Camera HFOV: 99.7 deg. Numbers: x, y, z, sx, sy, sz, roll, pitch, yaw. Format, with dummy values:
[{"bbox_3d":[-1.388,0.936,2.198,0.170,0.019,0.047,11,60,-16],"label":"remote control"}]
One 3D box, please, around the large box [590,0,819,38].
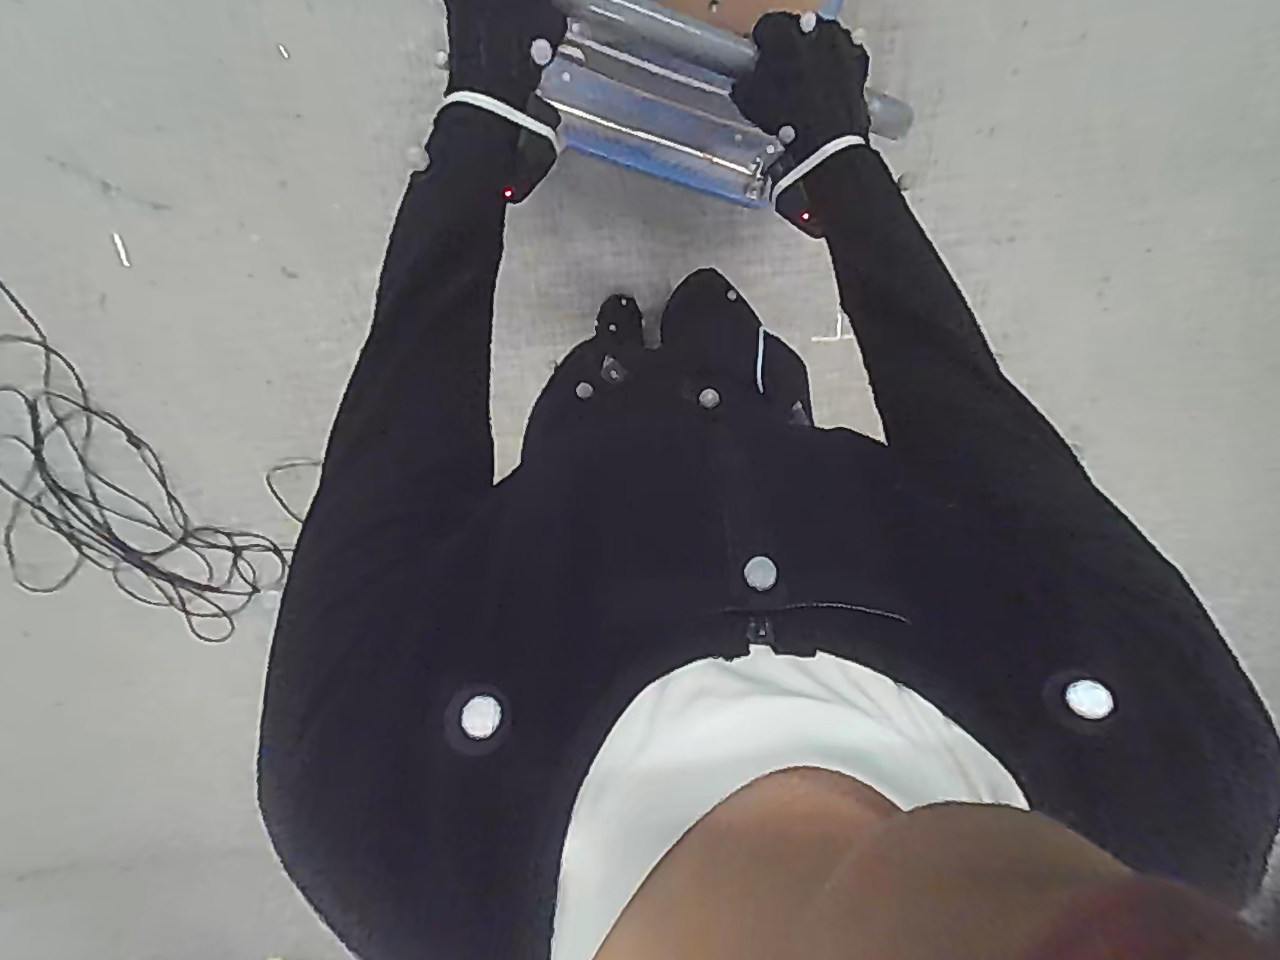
[{"bbox_3d":[0.108,-0.932,0.826,0.408,0.320,0.320,-4,110,0],"label":"large box"}]
